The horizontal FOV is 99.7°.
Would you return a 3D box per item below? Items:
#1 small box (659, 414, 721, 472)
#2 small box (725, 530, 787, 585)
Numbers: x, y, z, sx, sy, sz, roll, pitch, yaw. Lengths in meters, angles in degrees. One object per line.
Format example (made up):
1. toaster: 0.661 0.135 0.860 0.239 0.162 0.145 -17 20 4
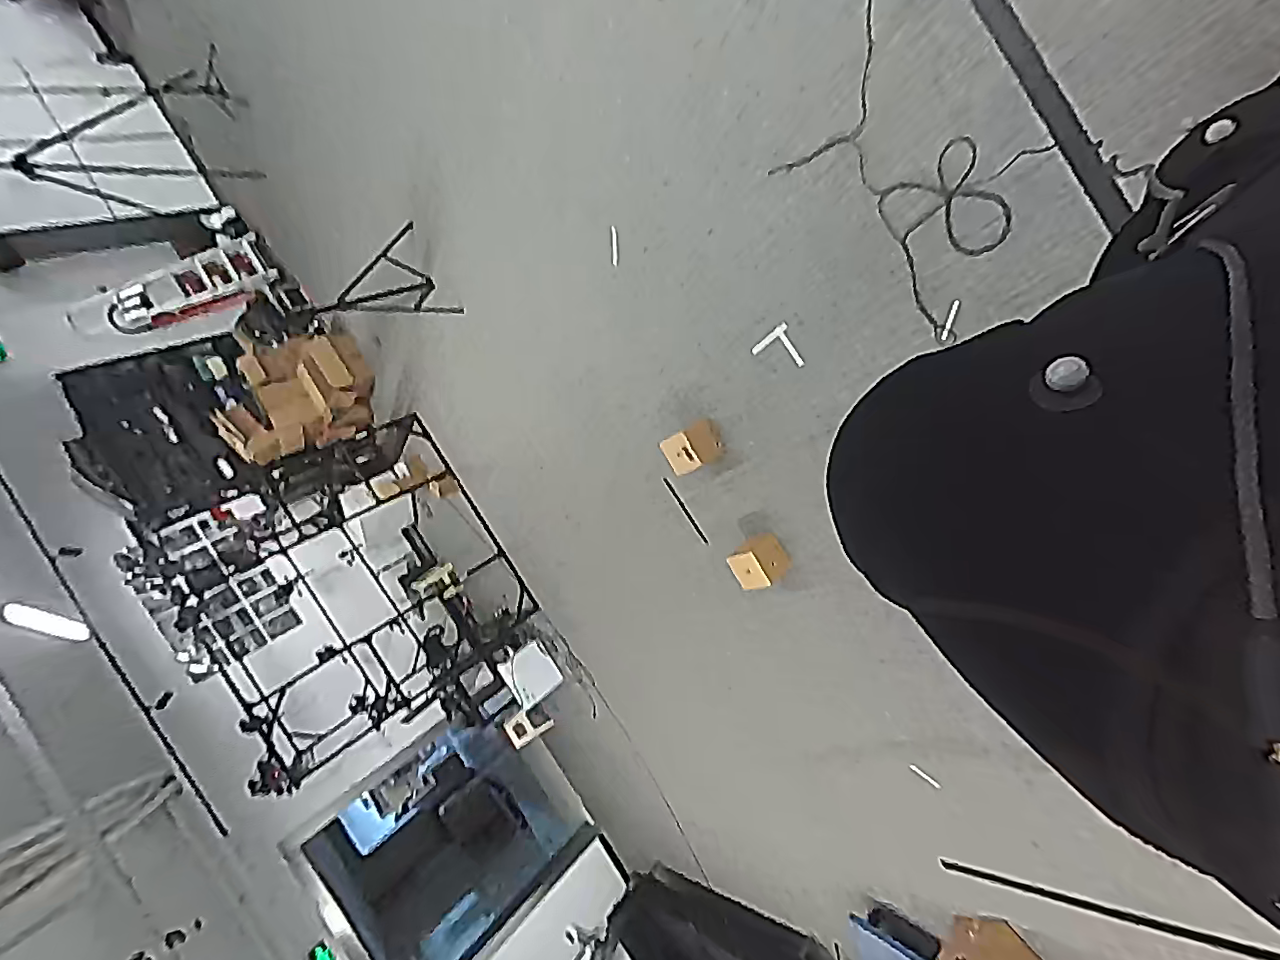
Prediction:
1. small box: 0.220 -0.161 2.300 0.179 0.176 0.168 -26 95 55
2. small box: 0.511 0.333 2.338 0.168 0.176 0.179 58 145 -2
